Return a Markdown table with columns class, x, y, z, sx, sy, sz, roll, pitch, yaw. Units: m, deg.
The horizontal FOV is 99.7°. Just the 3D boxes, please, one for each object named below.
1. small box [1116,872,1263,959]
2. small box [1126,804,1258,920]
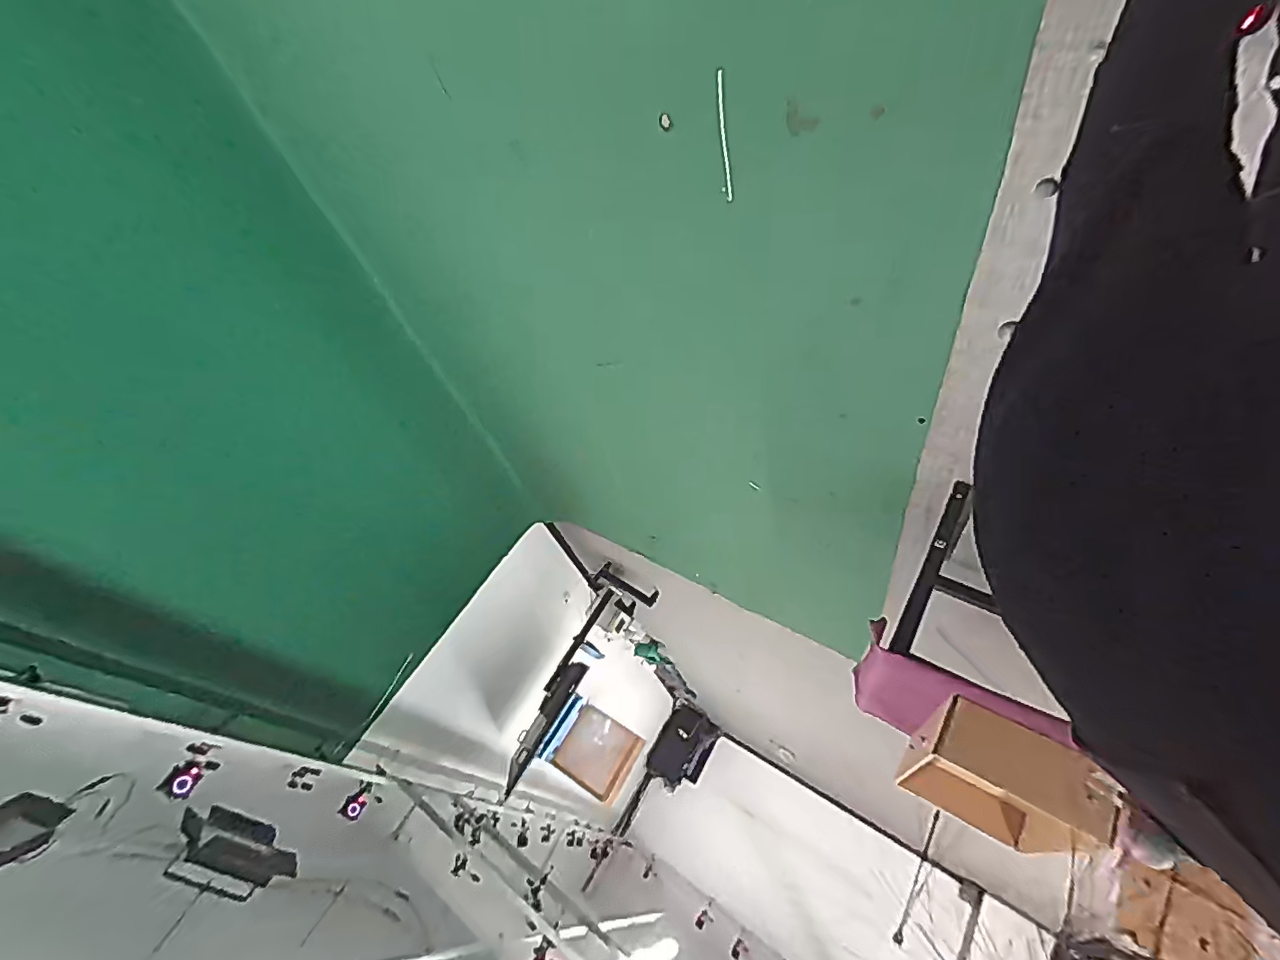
| class | x | y | z | sx | sy | sz | roll | pitch | yaw |
| --- | --- | --- | --- | --- | --- | --- | --- | --- | --- |
| small box | 1.242 | 1.029 | 1.228 | 0.179 | 0.176 | 0.168 | 23 | 155 | 28 |
| small box | 1.327 | 0.910 | 1.302 | 0.168 | 0.176 | 0.179 | 23 | 155 | 28 |
